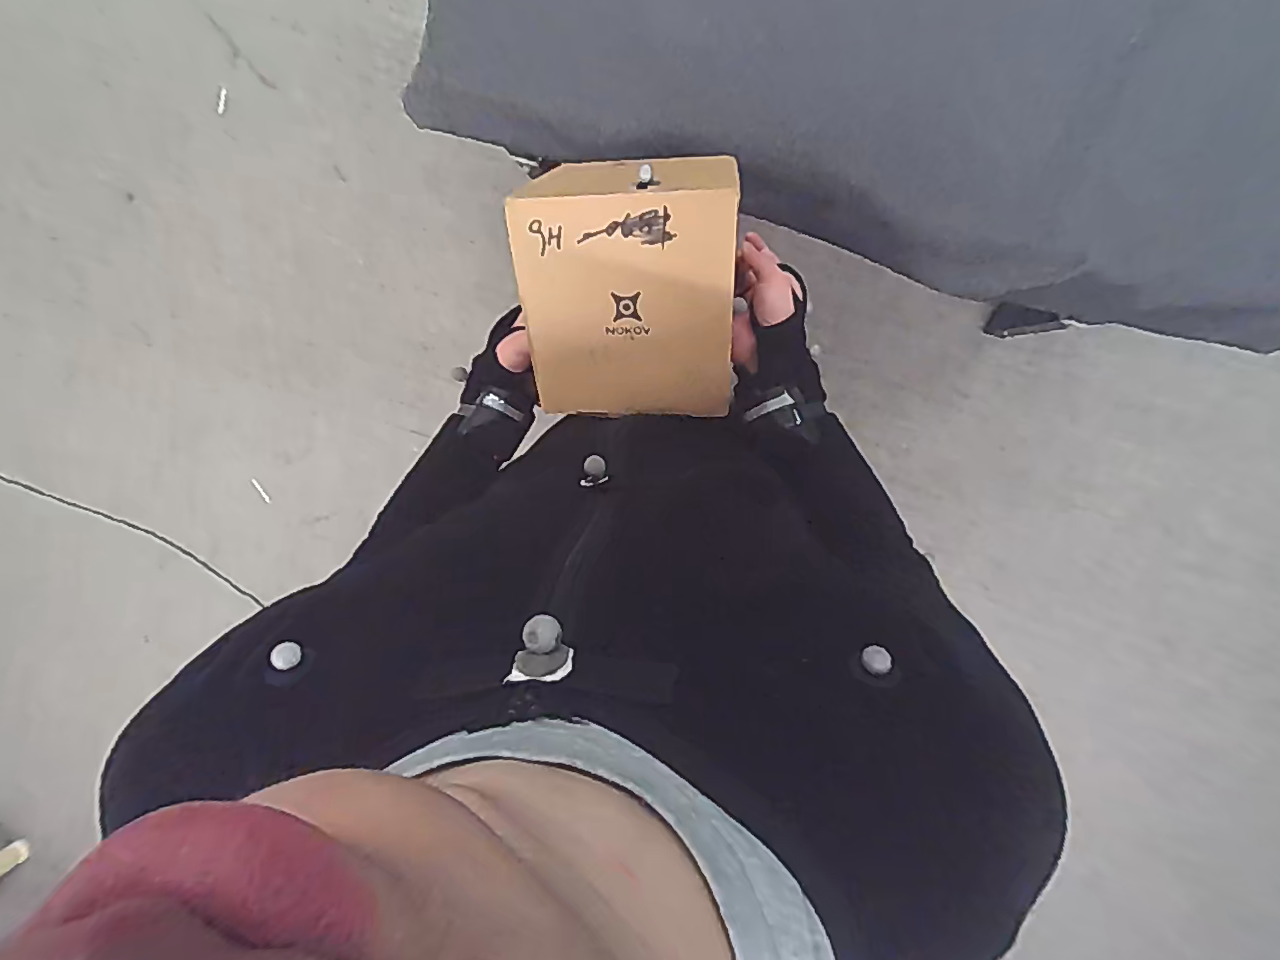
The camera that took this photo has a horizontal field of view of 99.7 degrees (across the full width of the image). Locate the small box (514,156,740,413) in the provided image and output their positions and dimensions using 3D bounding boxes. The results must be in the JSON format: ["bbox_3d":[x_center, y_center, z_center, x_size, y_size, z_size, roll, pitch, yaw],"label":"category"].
[{"bbox_3d":[0.003,-0.180,0.494,0.168,0.176,0.179,1,129,7],"label":"small box"}]
